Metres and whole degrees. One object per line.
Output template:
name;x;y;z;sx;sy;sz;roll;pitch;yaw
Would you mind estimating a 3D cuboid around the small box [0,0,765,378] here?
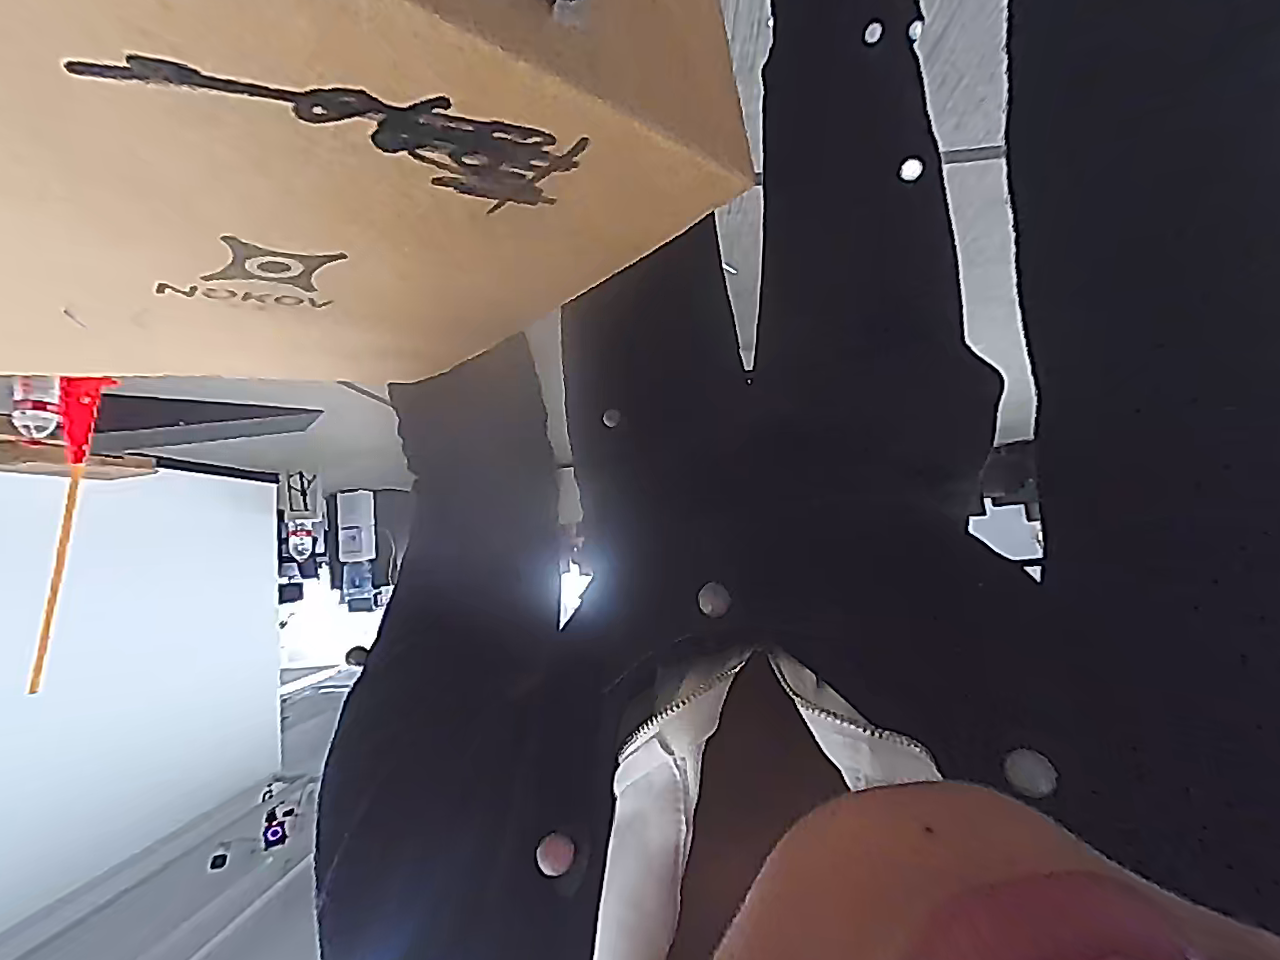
small box;-0.098;-0.125;0.115;0.179;0.176;0.168;-9;-178;41
